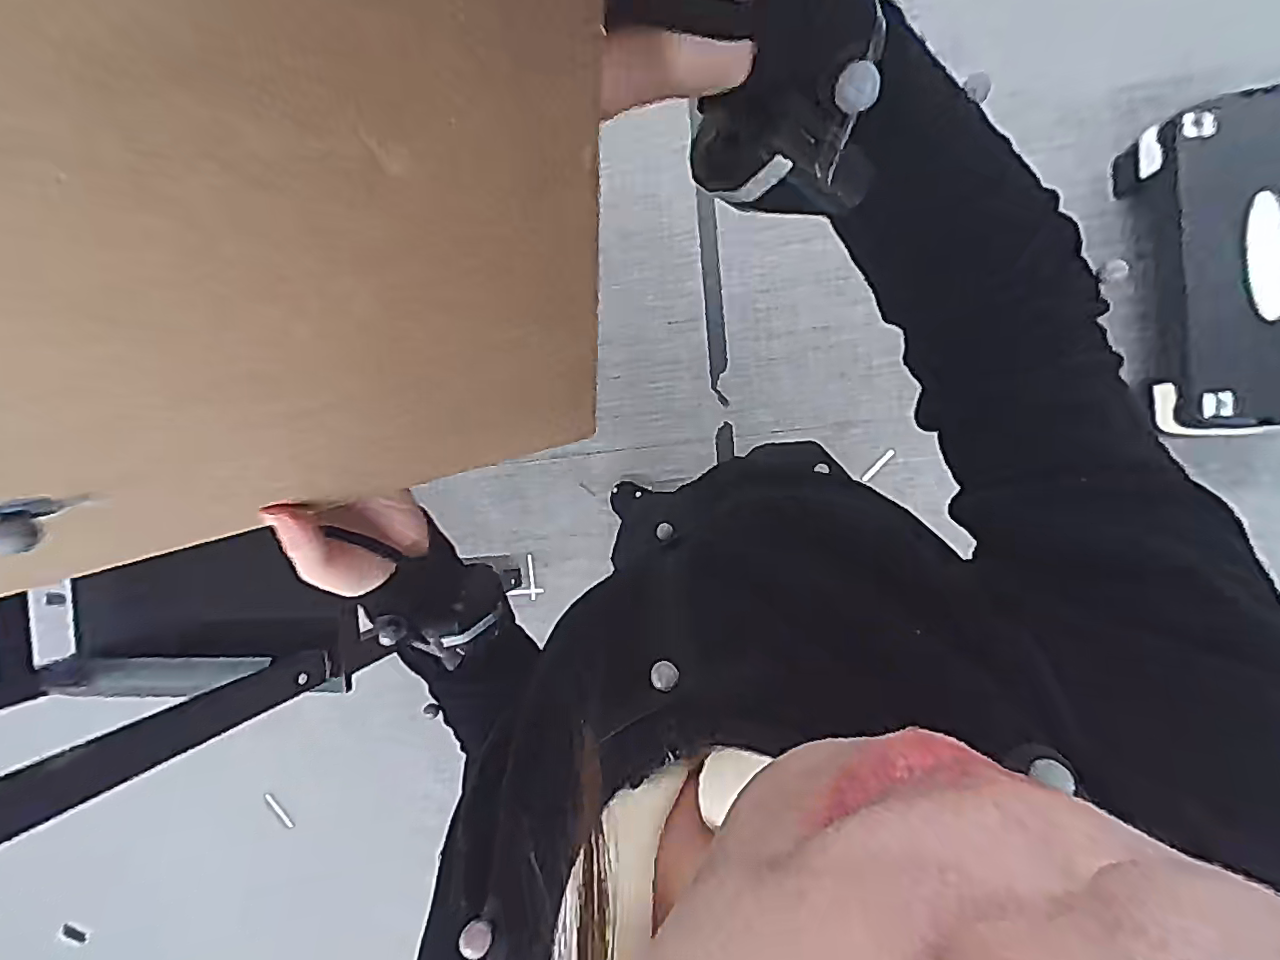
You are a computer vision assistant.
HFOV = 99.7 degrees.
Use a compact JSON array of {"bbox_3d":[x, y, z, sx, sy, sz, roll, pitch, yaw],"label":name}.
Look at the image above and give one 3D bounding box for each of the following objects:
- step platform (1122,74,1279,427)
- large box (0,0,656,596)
[{"bbox_3d":[1.247,-0.459,1.136,0.286,0.204,0.684,1,91,13],"label":"step platform"},{"bbox_3d":[-0.235,-0.143,0.187,0.408,0.320,0.320,-16,82,-6],"label":"large box"}]
